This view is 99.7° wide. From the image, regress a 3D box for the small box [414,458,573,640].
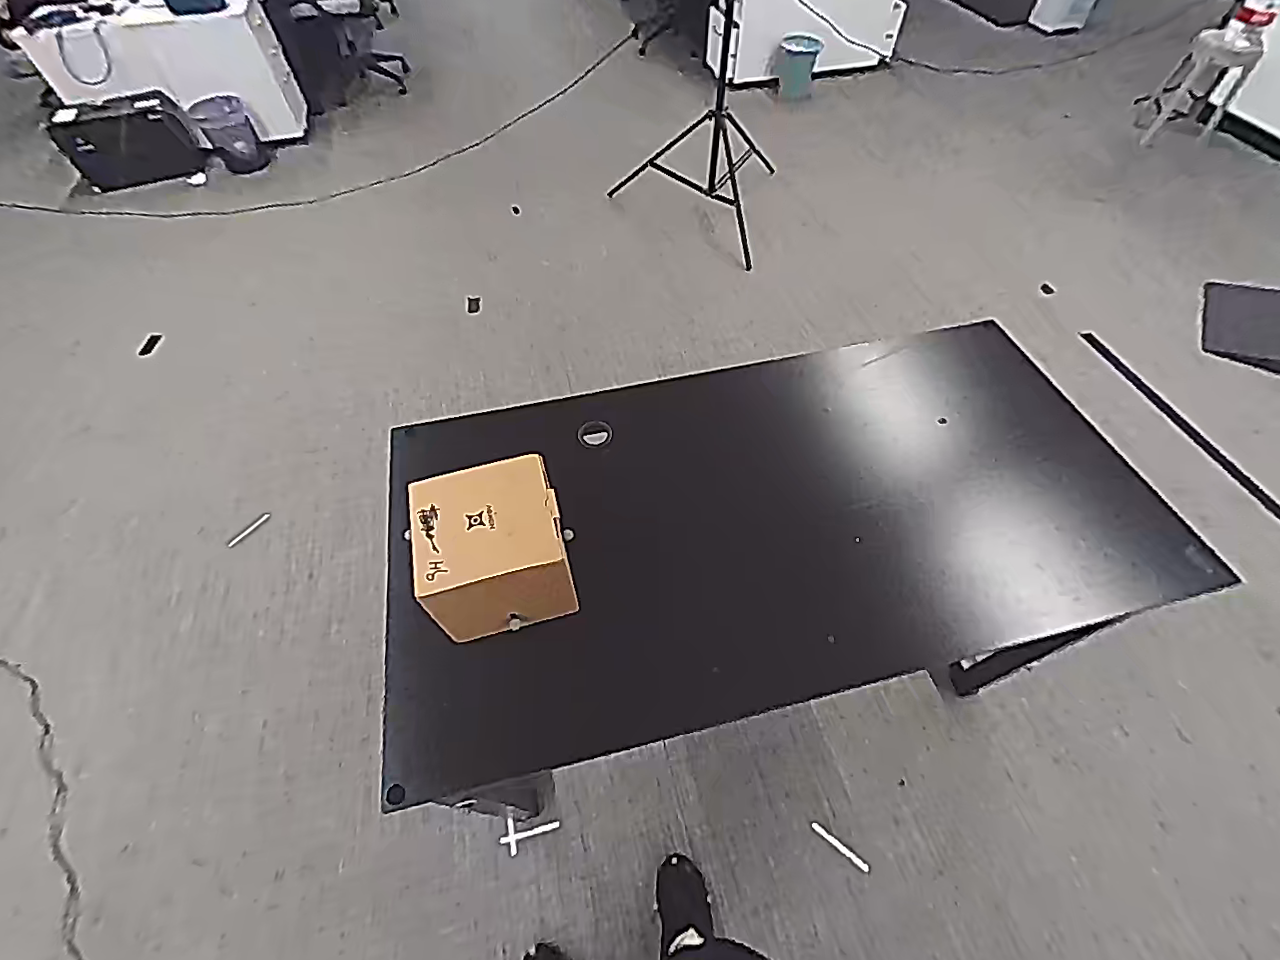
[{"bbox_3d":[-0.191,0.098,0.738,0.179,0.176,0.168,-13,56,-9],"label":"small box"}]
